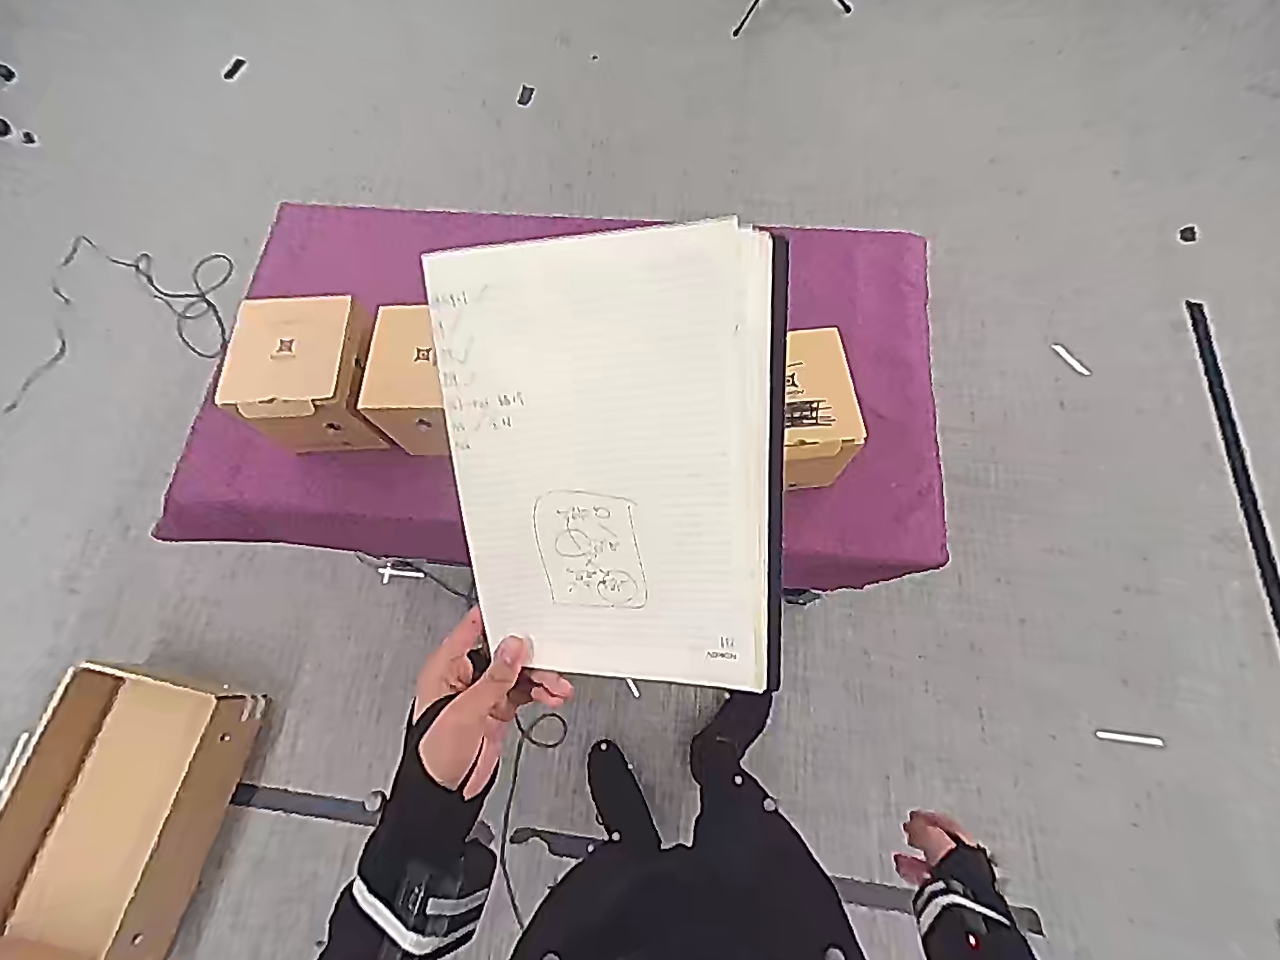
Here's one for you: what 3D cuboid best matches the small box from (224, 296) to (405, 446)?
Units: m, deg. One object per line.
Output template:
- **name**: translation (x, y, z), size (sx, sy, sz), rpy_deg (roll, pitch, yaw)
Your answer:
- **small box**: translation (-0.487, -0.158, 0.839), size (0.168, 0.176, 0.179), rpy_deg (-2, 70, 1)
